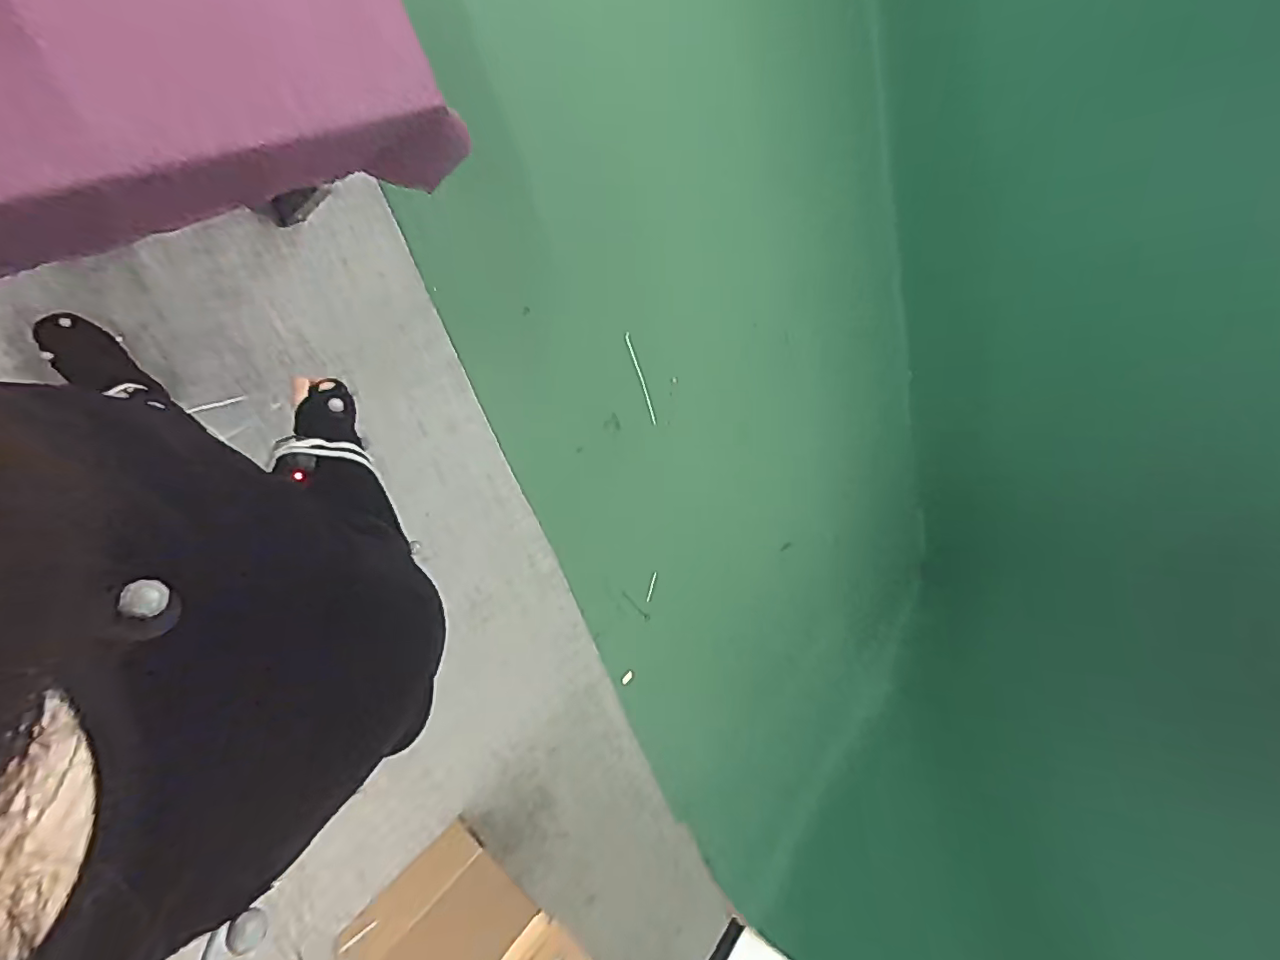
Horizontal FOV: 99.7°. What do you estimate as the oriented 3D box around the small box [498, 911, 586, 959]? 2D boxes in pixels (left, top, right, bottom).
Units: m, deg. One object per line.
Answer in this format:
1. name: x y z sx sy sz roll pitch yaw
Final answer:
1. small box: -0.238 1.261 1.382 0.168 0.176 0.179 -37 121 -34
